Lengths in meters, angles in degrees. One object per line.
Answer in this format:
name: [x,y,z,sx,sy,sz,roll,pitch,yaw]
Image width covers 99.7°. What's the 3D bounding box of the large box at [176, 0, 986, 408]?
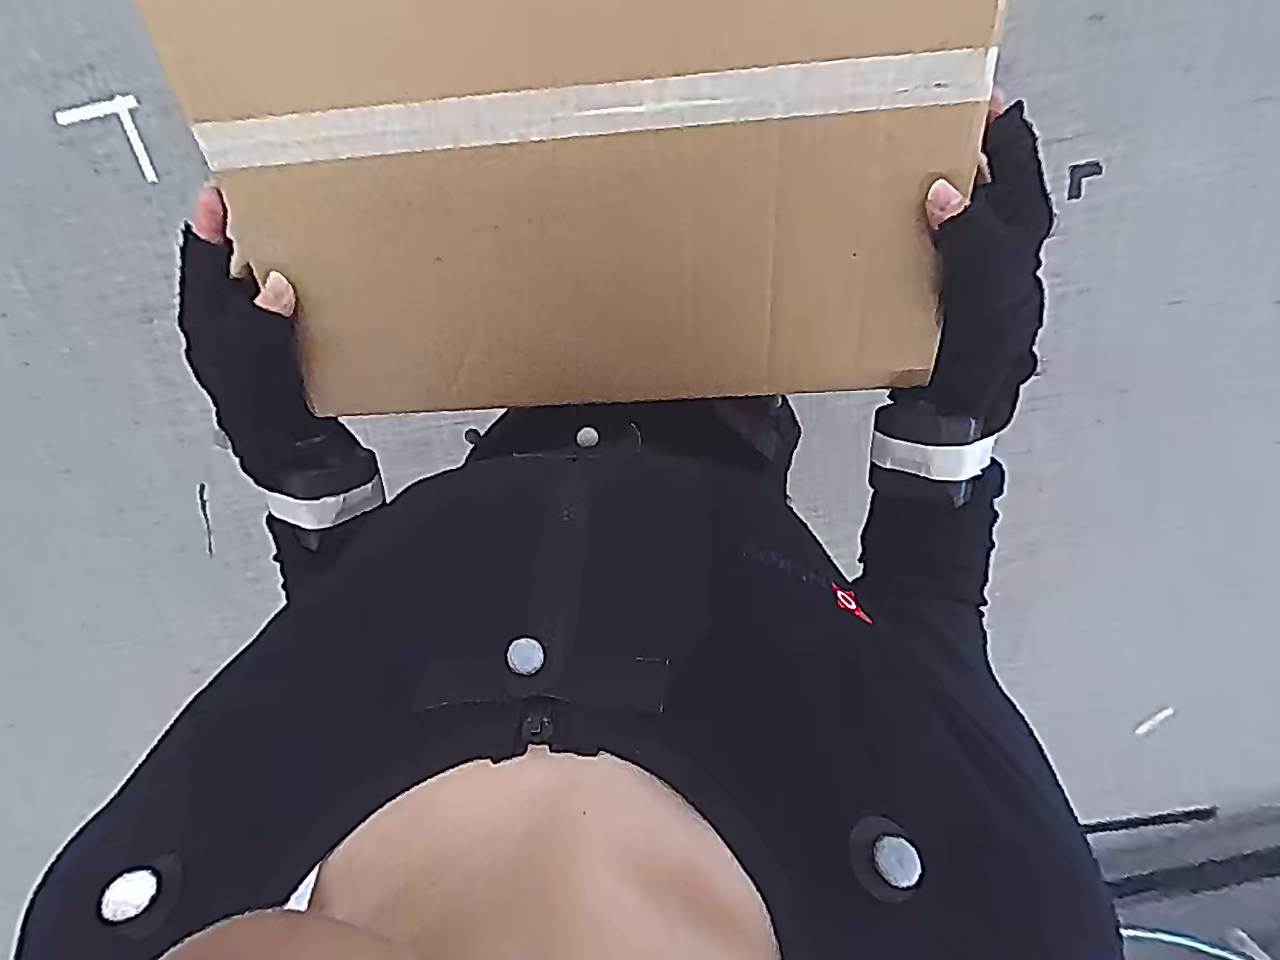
large box: [-0.026,-0.266,0.417,0.408,0.320,0.320,-3,120,4]
